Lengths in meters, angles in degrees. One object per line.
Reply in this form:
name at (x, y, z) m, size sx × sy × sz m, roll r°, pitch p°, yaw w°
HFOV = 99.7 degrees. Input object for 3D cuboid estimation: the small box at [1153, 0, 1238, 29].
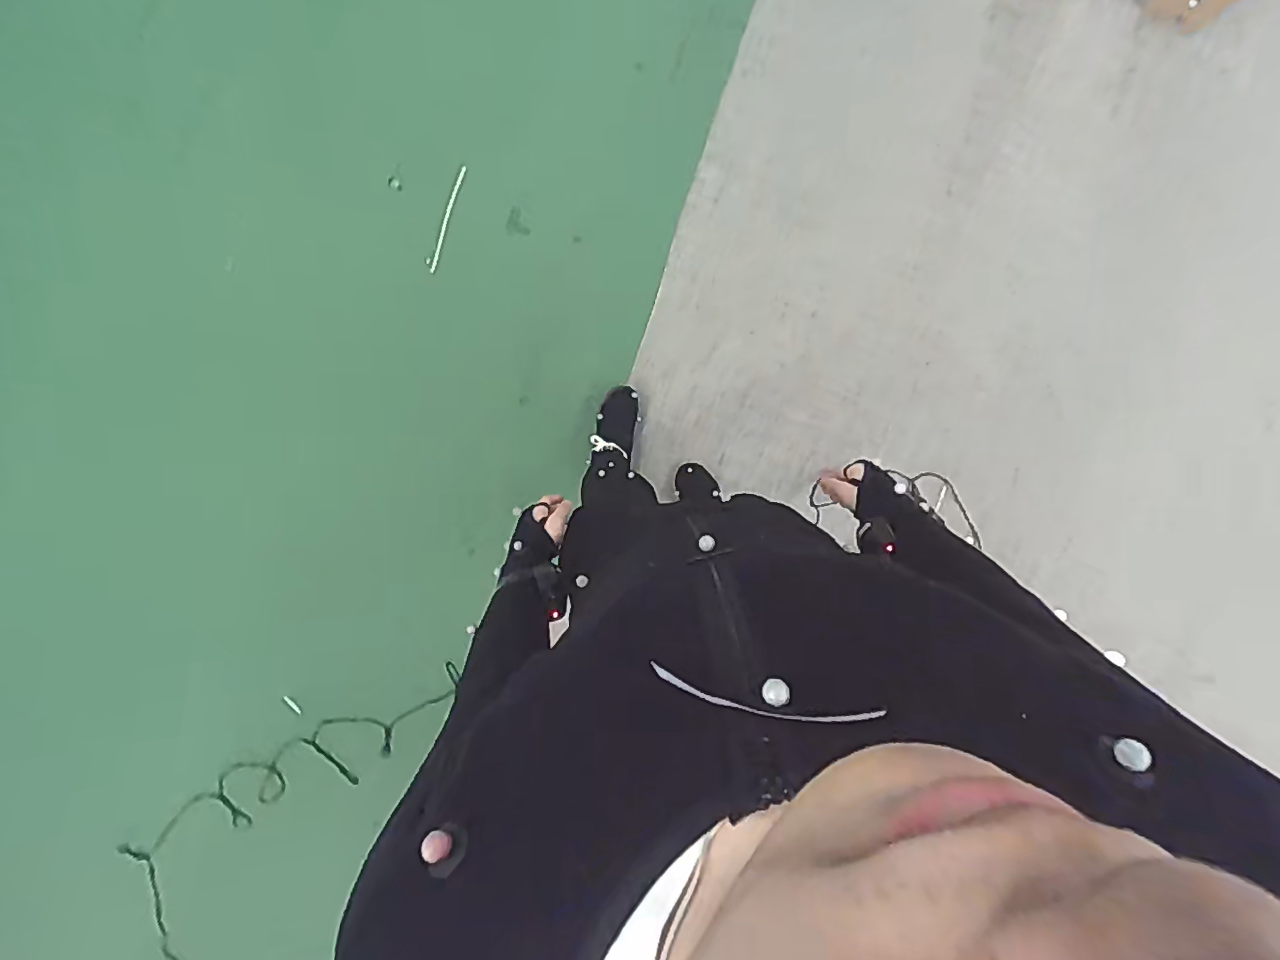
small box at (1.447, -1.293, 1.349) m, size 0.168 × 0.176 × 0.179 m, roll 27°, pitch 97°, yaw 0°
